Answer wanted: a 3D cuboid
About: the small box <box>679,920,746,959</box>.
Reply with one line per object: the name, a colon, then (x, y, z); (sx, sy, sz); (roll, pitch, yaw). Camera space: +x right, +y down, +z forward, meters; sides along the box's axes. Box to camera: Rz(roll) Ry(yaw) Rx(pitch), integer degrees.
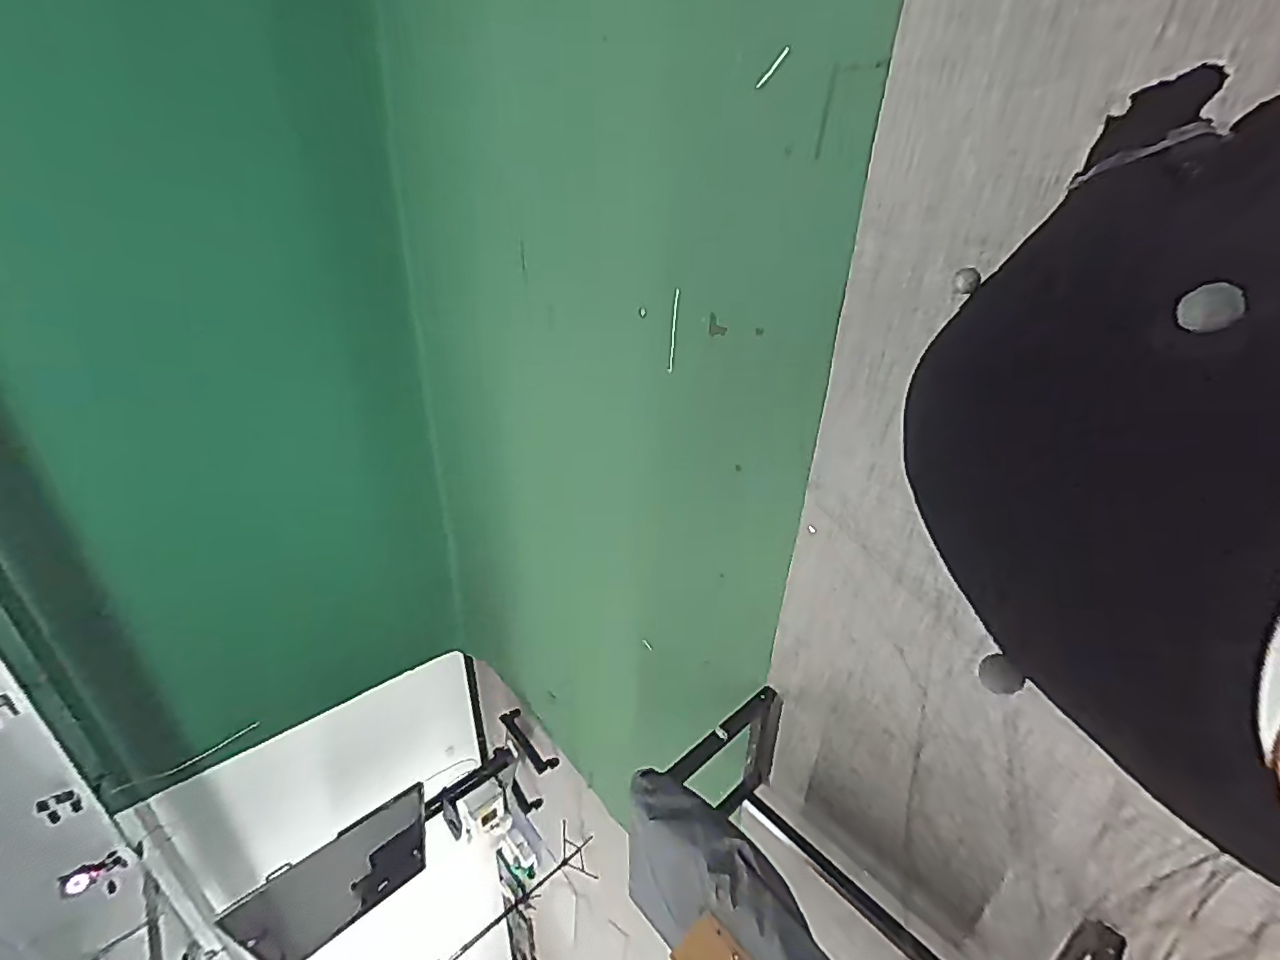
small box: (0.206, 1.403, 1.518); (0.168, 0.176, 0.179); (28, 128, 41)
